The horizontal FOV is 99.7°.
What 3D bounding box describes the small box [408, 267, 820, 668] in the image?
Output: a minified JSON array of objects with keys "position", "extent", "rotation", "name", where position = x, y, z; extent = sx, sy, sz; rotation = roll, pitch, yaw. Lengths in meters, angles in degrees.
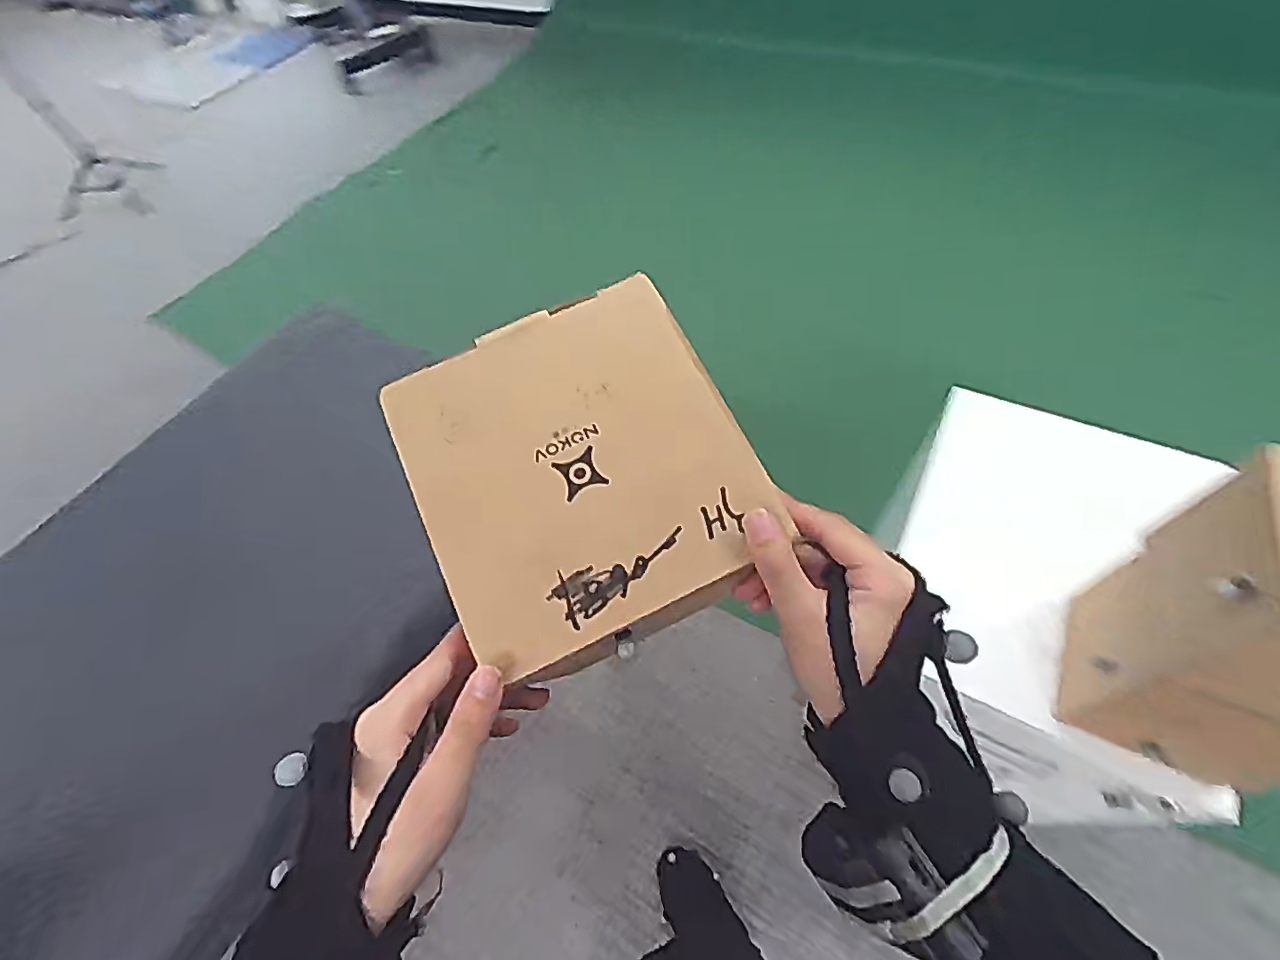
[{"position":[-0.017,0.007,0.353],"extent":[0.168,0.176,0.179],"rotation":[-24,72,-4],"name":"small box"}]
